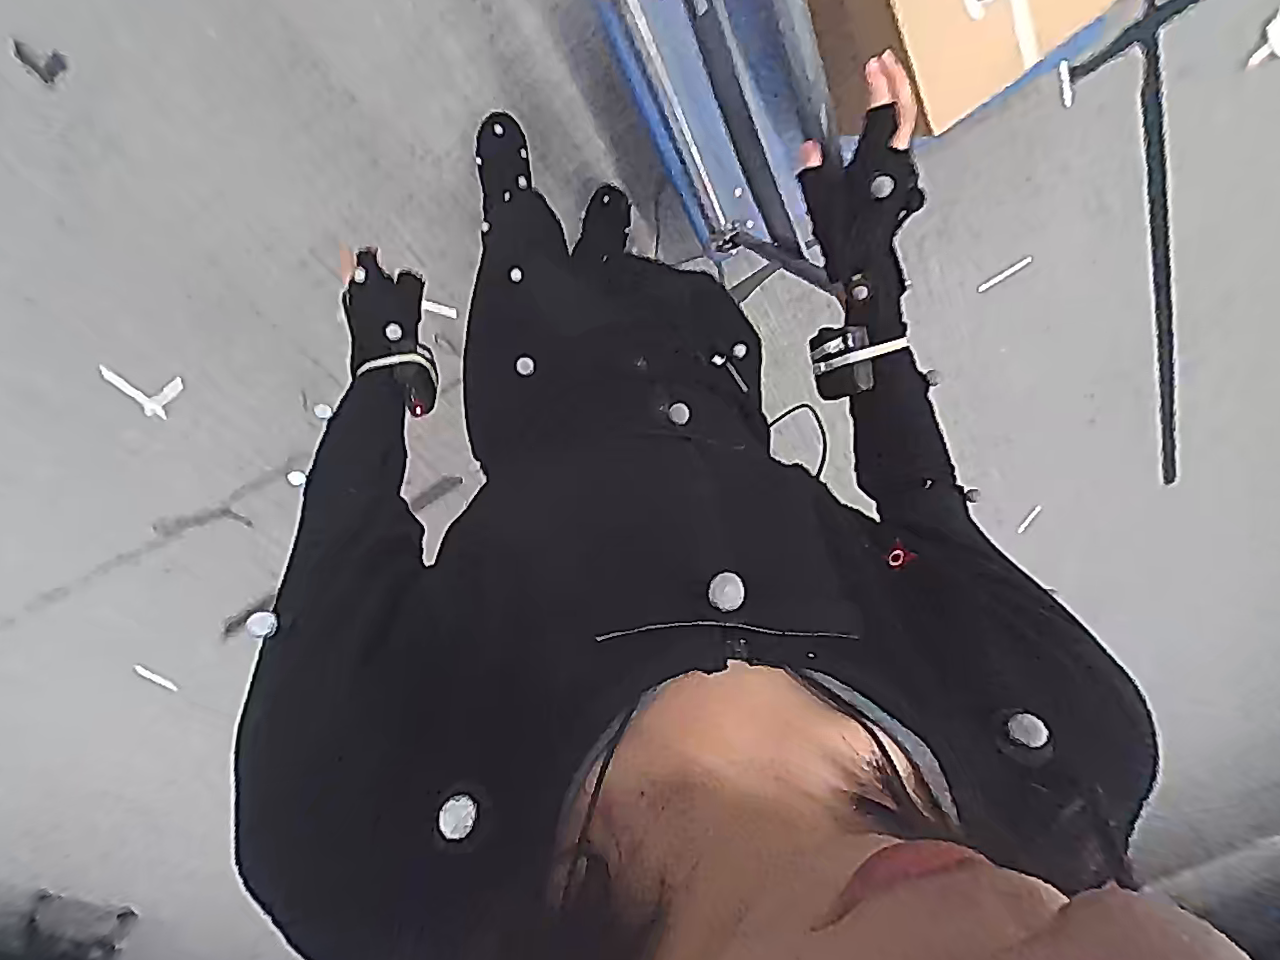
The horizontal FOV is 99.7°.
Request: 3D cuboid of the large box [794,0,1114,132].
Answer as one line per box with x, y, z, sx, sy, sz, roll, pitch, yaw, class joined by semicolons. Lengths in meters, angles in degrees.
0.448;-0.834;0.841;0.320;0.320;0.408;-34;122;13;large box
